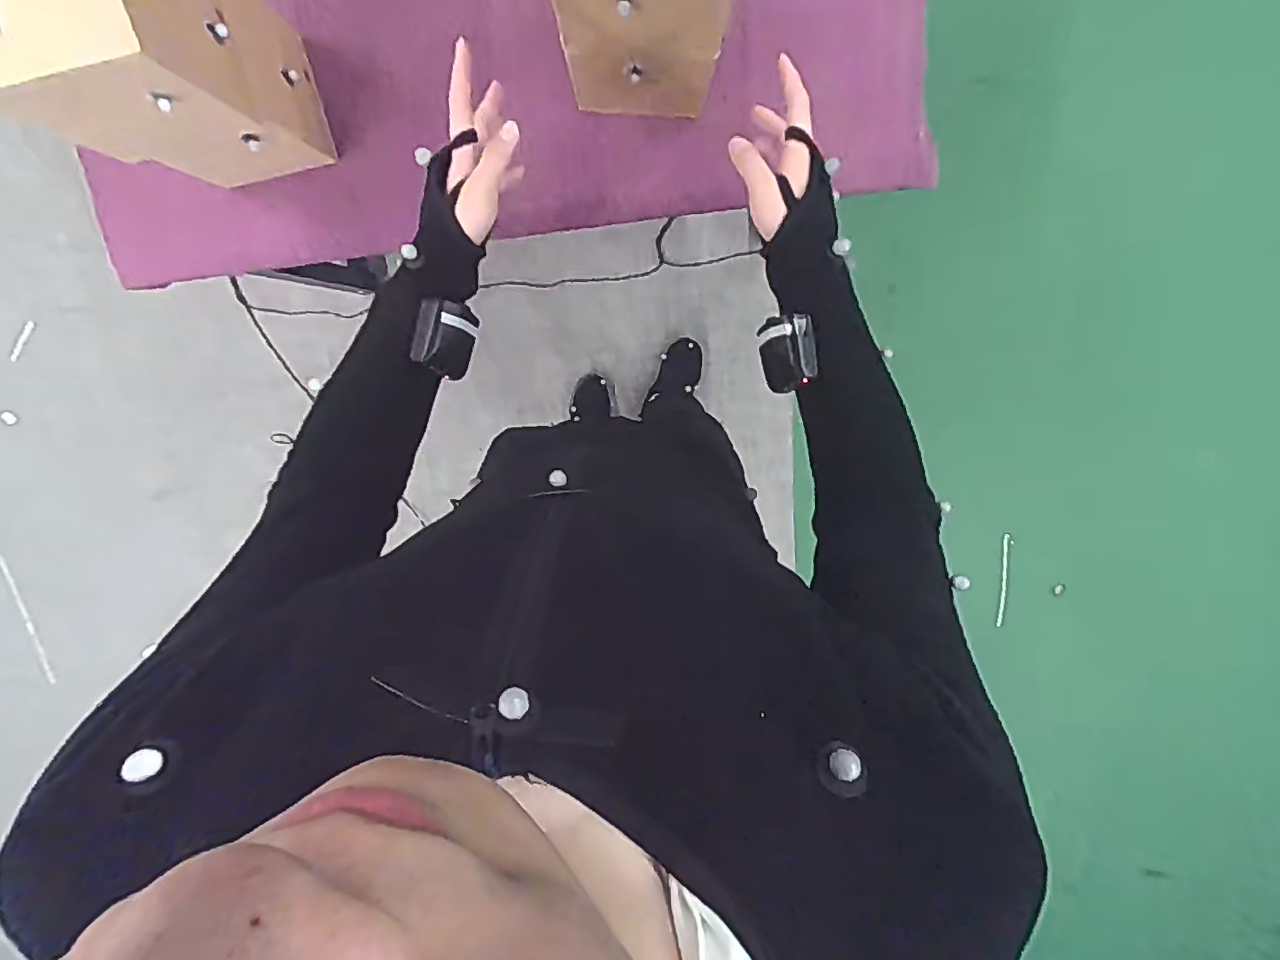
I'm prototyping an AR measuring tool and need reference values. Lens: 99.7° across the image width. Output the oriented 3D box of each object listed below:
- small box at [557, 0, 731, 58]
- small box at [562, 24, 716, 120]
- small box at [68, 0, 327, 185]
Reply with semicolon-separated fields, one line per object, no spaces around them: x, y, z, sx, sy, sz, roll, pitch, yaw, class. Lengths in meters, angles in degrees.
0.005;-0.535;0.513;0.179;0.176;0.168;1;104;1;small box
0.006;-0.575;0.671;0.179;0.176;0.168;4;104;-1;small box
-0.535;-0.500;0.688;0.179;0.176;0.168;-11;103;3;small box
